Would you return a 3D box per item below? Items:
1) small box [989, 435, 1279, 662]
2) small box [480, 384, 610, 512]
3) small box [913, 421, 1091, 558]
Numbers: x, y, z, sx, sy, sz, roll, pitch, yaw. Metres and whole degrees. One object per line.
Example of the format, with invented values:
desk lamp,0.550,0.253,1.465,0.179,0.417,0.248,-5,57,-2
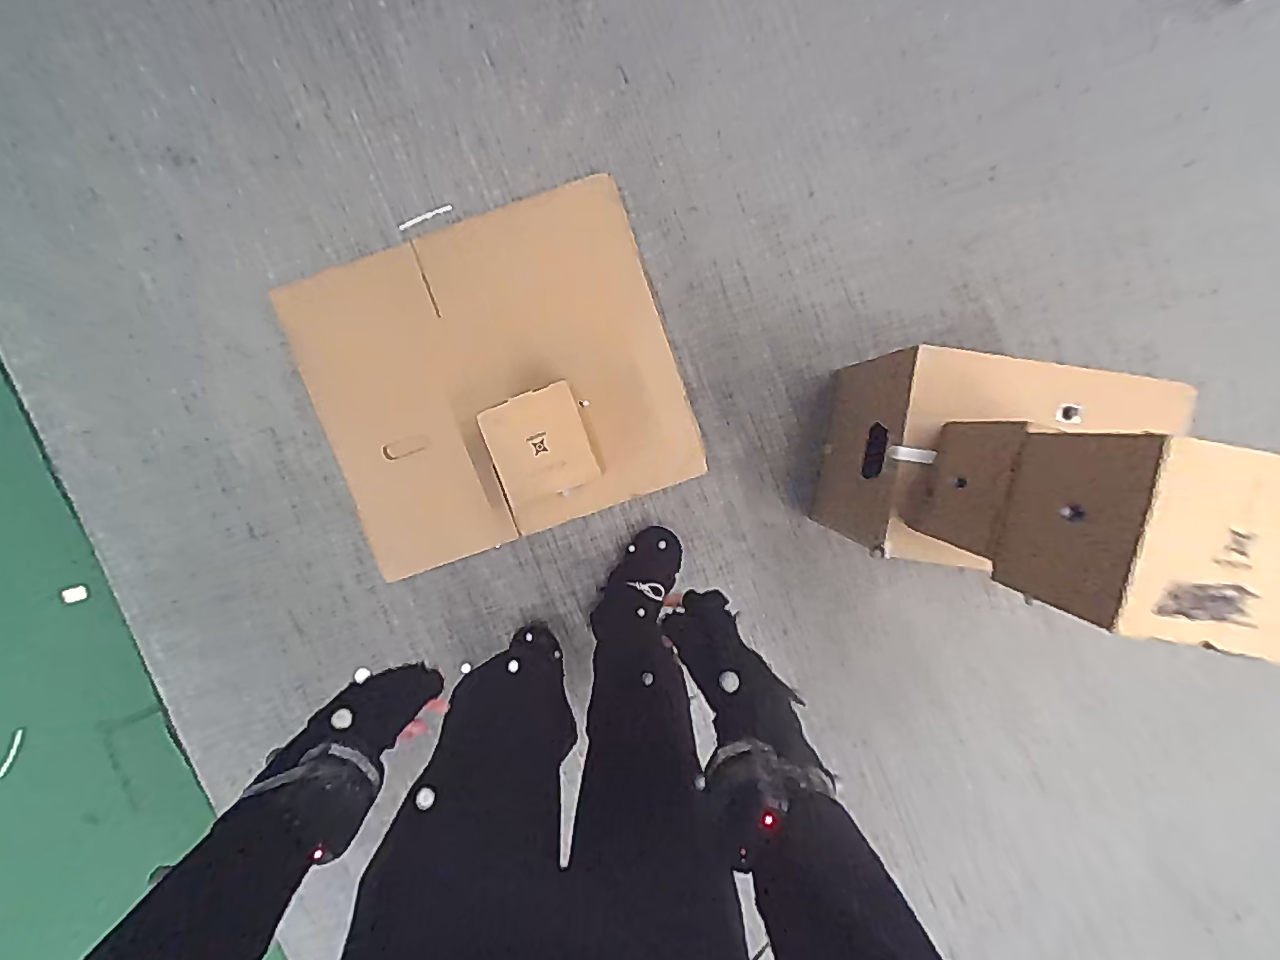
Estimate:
small box,0.489,0.054,0.540,0.168,0.176,0.179,7,97,0
small box,-0.164,-0.059,0.989,0.168,0.176,0.179,-21,95,4
small box,0.493,0.025,0.705,0.179,0.176,0.168,13,94,-2
